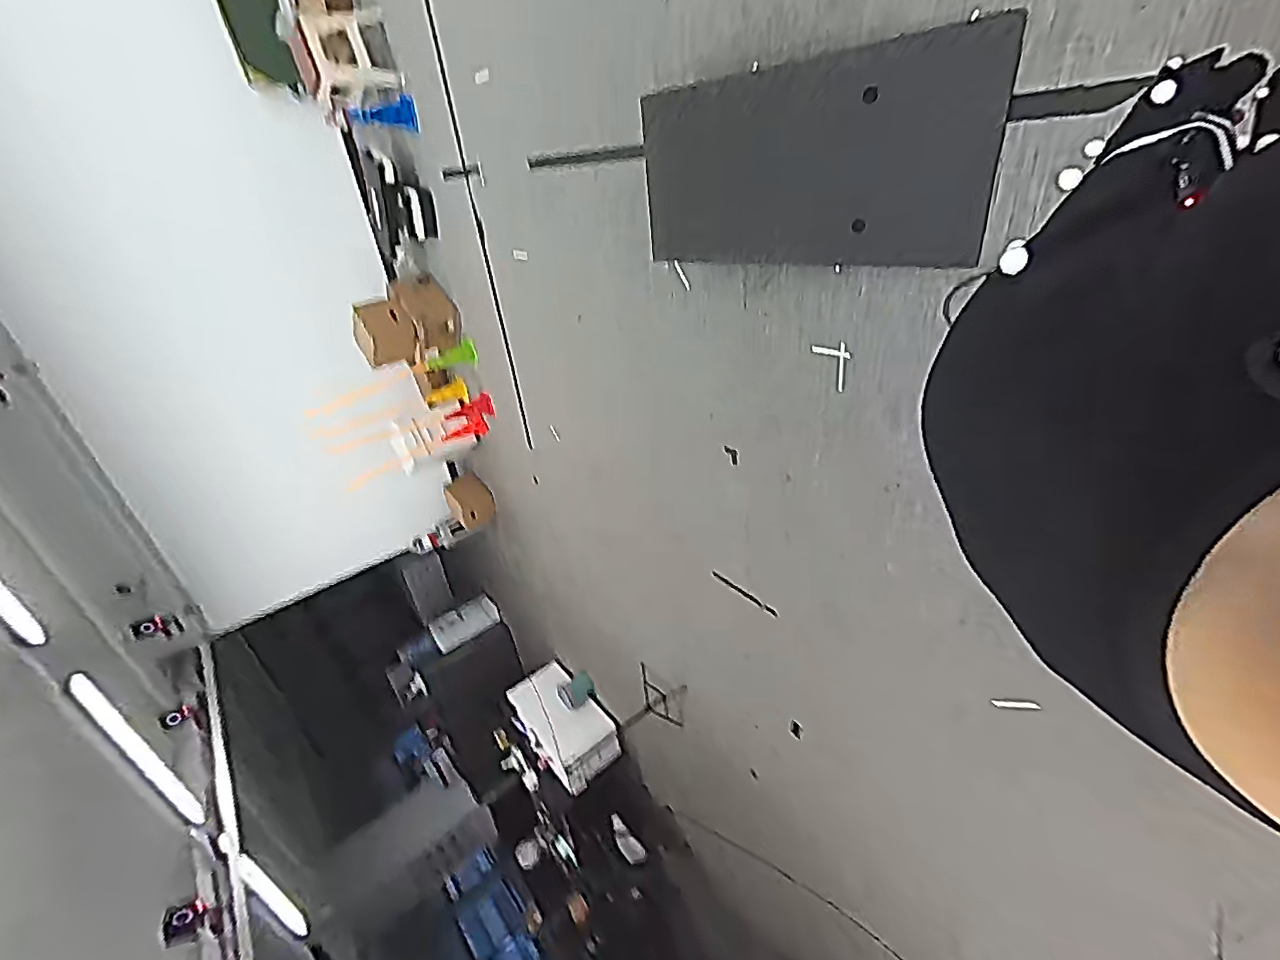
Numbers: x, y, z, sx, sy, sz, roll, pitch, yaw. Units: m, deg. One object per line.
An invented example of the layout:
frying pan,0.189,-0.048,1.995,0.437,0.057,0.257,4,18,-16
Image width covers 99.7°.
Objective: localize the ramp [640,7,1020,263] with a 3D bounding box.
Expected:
ramp,0.408,-0.864,1.488,0.991,0.206,0.509,25,132,45
